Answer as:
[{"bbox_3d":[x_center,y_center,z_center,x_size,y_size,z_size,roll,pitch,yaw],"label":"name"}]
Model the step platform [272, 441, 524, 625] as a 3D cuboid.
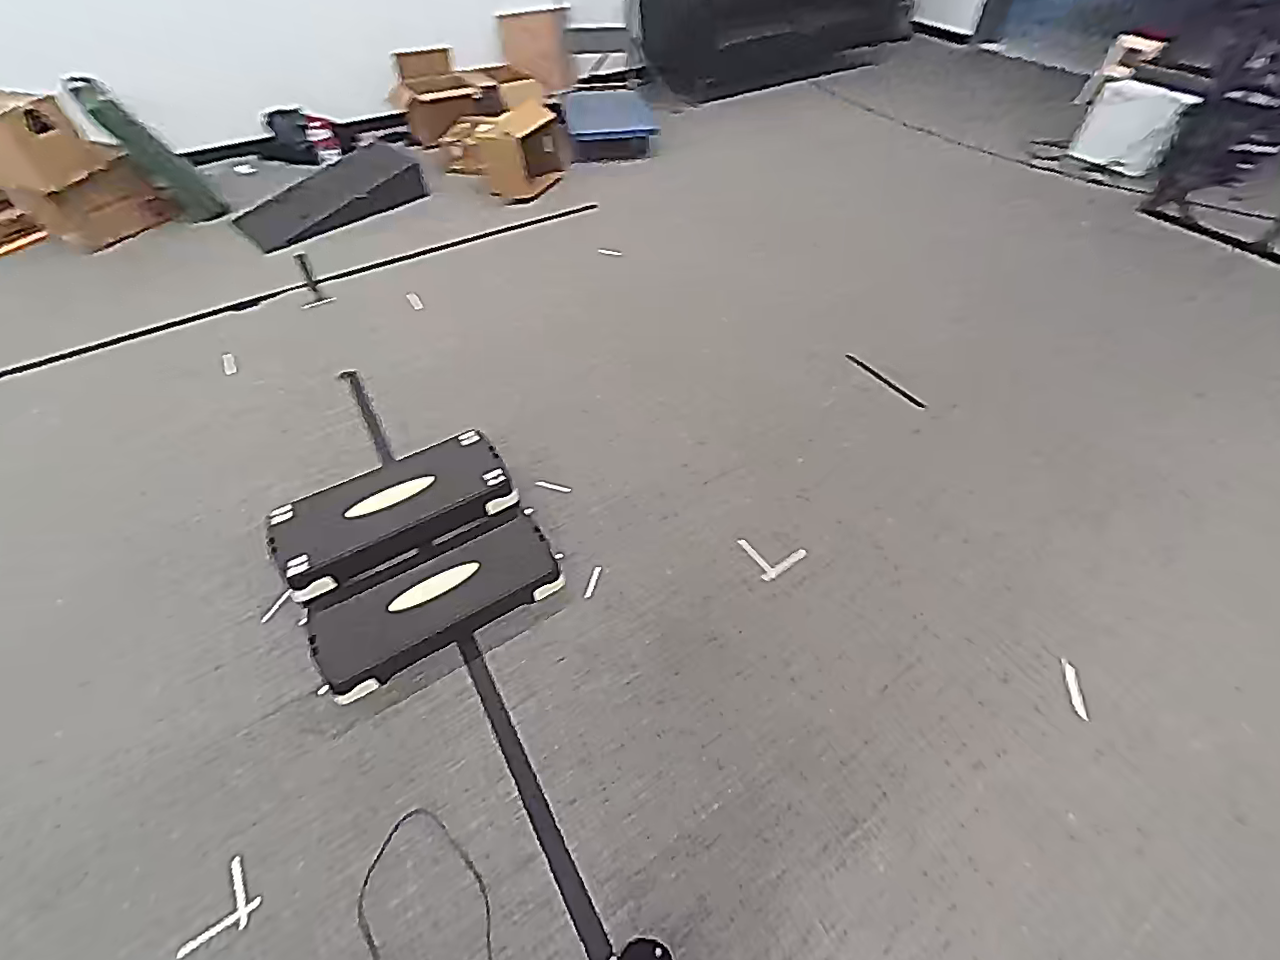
[{"bbox_3d":[-0.713,0.140,1.639,0.684,0.204,0.286,-26,55,-21],"label":"step platform"}]
